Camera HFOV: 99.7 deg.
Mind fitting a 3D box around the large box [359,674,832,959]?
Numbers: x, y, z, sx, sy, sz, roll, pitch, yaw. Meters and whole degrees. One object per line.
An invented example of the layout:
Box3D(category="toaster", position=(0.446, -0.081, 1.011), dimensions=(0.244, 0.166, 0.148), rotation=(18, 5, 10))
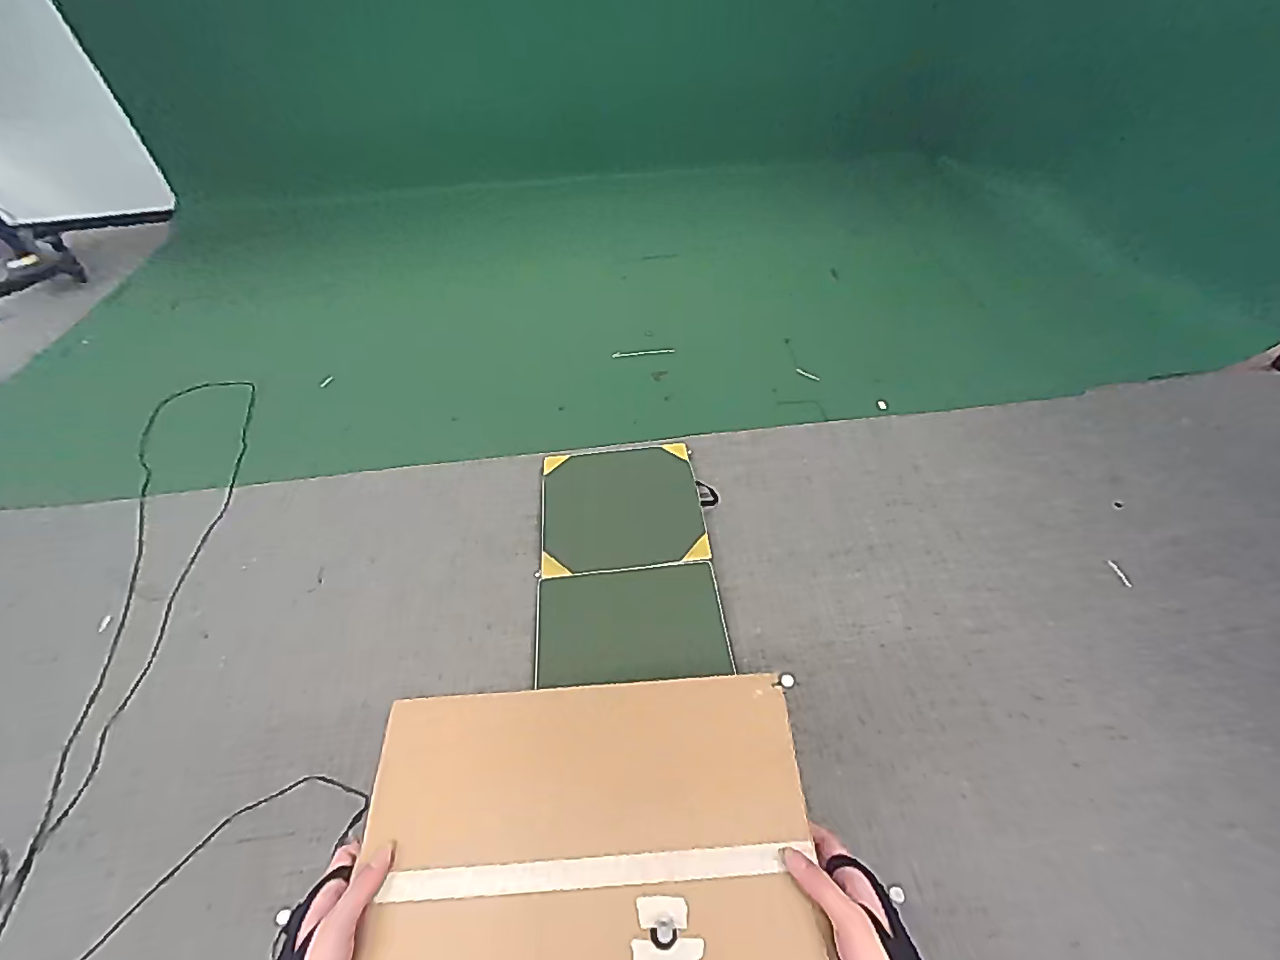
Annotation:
Box3D(category="large box", position=(-0.039, 0.435, 0.609), dimensions=(0.408, 0.320, 0.320), rotation=(-4, 55, 0))
